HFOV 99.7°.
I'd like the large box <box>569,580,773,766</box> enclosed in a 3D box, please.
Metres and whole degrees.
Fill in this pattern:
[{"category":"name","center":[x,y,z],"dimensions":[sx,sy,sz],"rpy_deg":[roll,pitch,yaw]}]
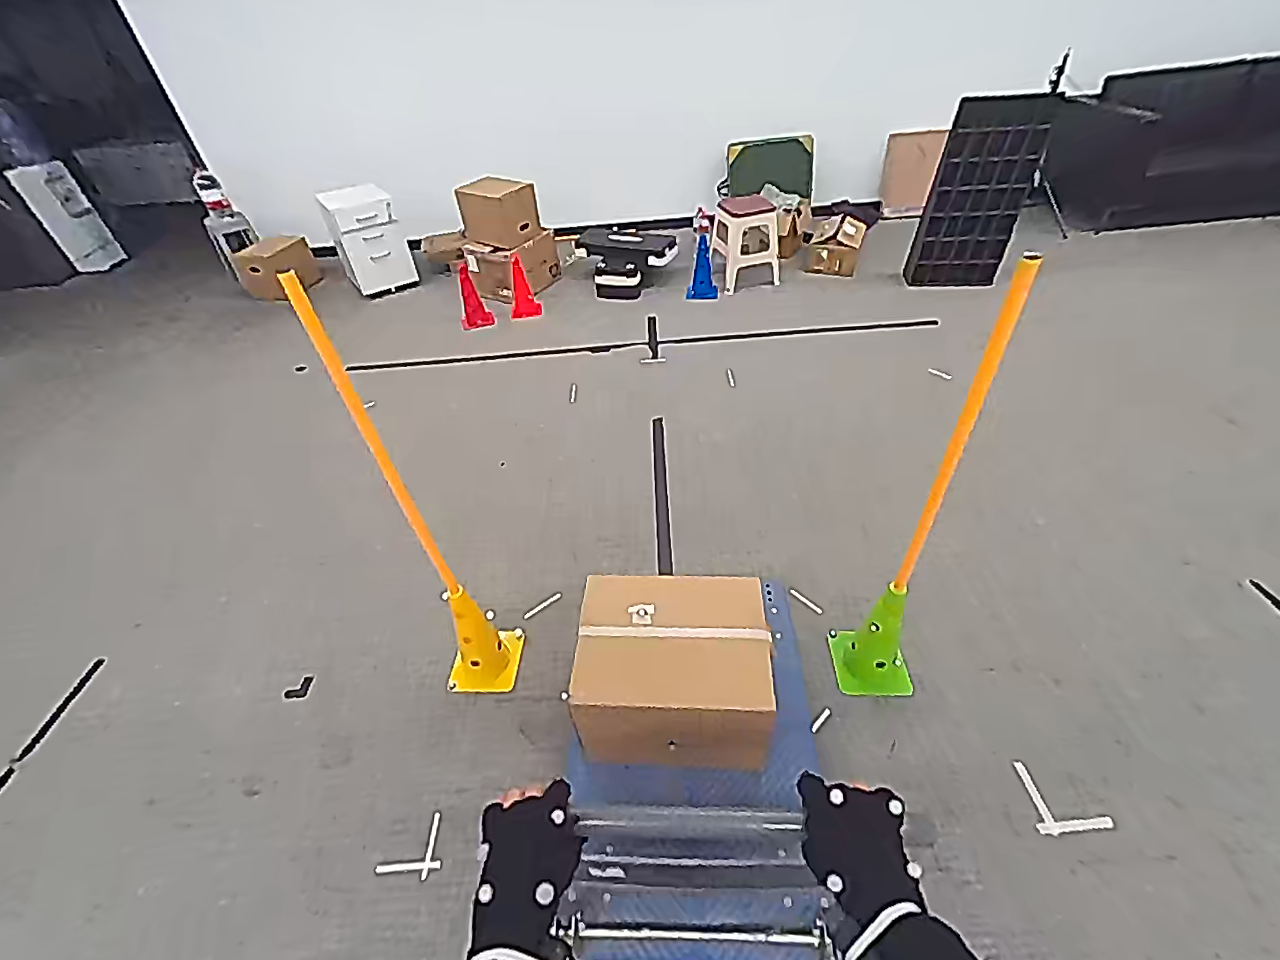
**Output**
[{"category":"large box","center":[0.078,0.449,1.258],"dimensions":[0.408,0.320,0.320],"rpy_deg":[-1,43,6]}]

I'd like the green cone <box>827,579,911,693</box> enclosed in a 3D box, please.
[{"category":"green cone","center":[0.654,0.398,1.464],"dimensions":[0.202,0.368,0.200],"rpy_deg":[0,42,4]}]
